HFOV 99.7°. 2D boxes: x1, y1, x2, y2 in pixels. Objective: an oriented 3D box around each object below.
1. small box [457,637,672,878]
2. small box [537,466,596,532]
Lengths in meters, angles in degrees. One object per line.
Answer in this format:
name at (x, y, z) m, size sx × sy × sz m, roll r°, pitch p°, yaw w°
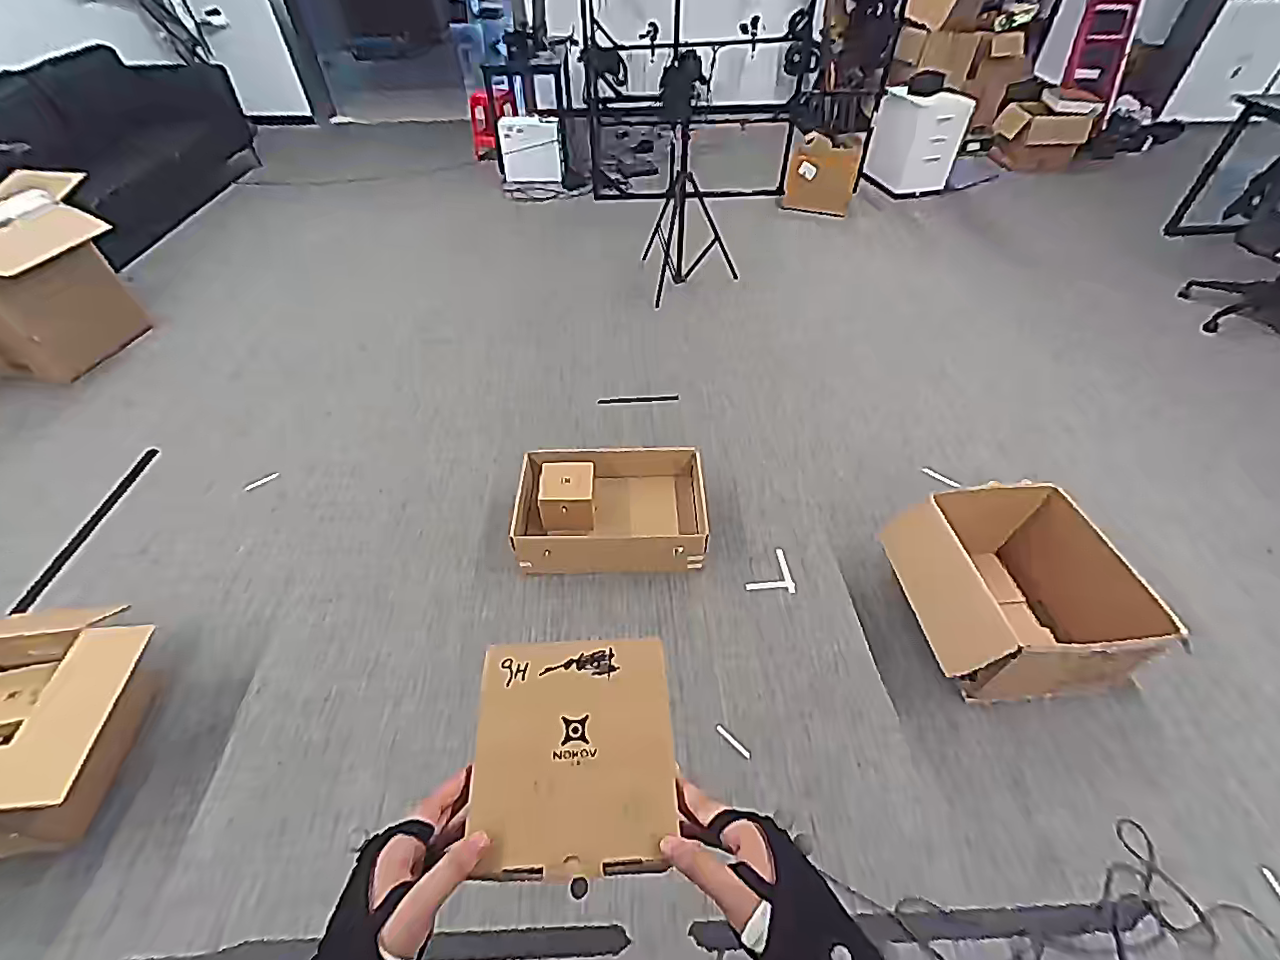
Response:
small box at (-0.061, 0.266, 0.516) m, size 0.168 × 0.176 × 0.179 m, roll -2°, pitch 53°, yaw -4°
small box at (-0.246, 0.068, 1.847) m, size 0.179 × 0.176 × 0.168 m, roll 0°, pitch 48°, yaw -2°
